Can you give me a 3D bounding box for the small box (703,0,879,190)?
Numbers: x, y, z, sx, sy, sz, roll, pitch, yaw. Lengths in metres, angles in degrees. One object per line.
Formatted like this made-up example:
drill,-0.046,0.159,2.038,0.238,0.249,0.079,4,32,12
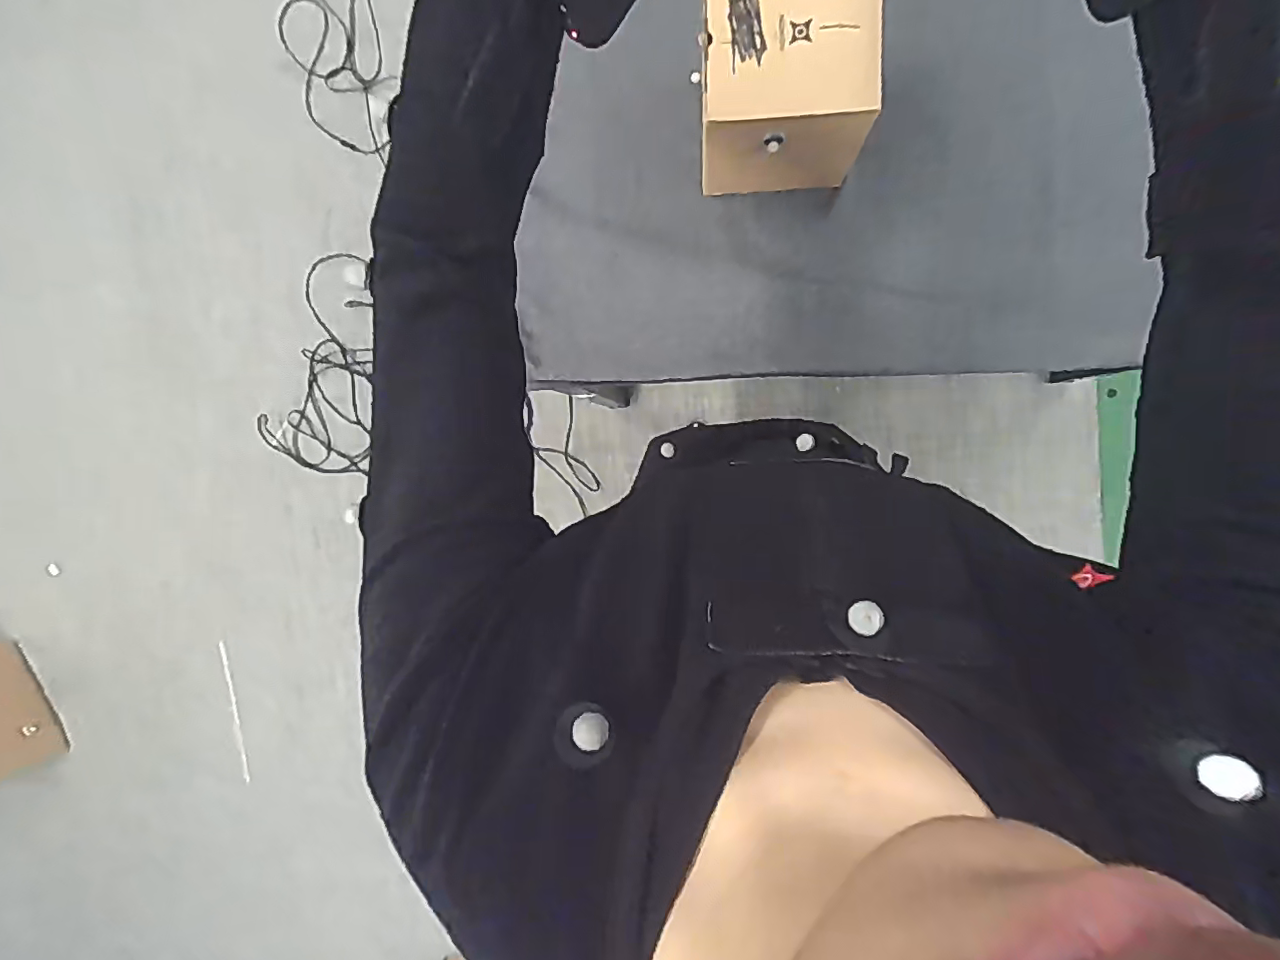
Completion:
small box,0.162,-0.459,0.628,0.179,0.176,0.168,-1,94,5
